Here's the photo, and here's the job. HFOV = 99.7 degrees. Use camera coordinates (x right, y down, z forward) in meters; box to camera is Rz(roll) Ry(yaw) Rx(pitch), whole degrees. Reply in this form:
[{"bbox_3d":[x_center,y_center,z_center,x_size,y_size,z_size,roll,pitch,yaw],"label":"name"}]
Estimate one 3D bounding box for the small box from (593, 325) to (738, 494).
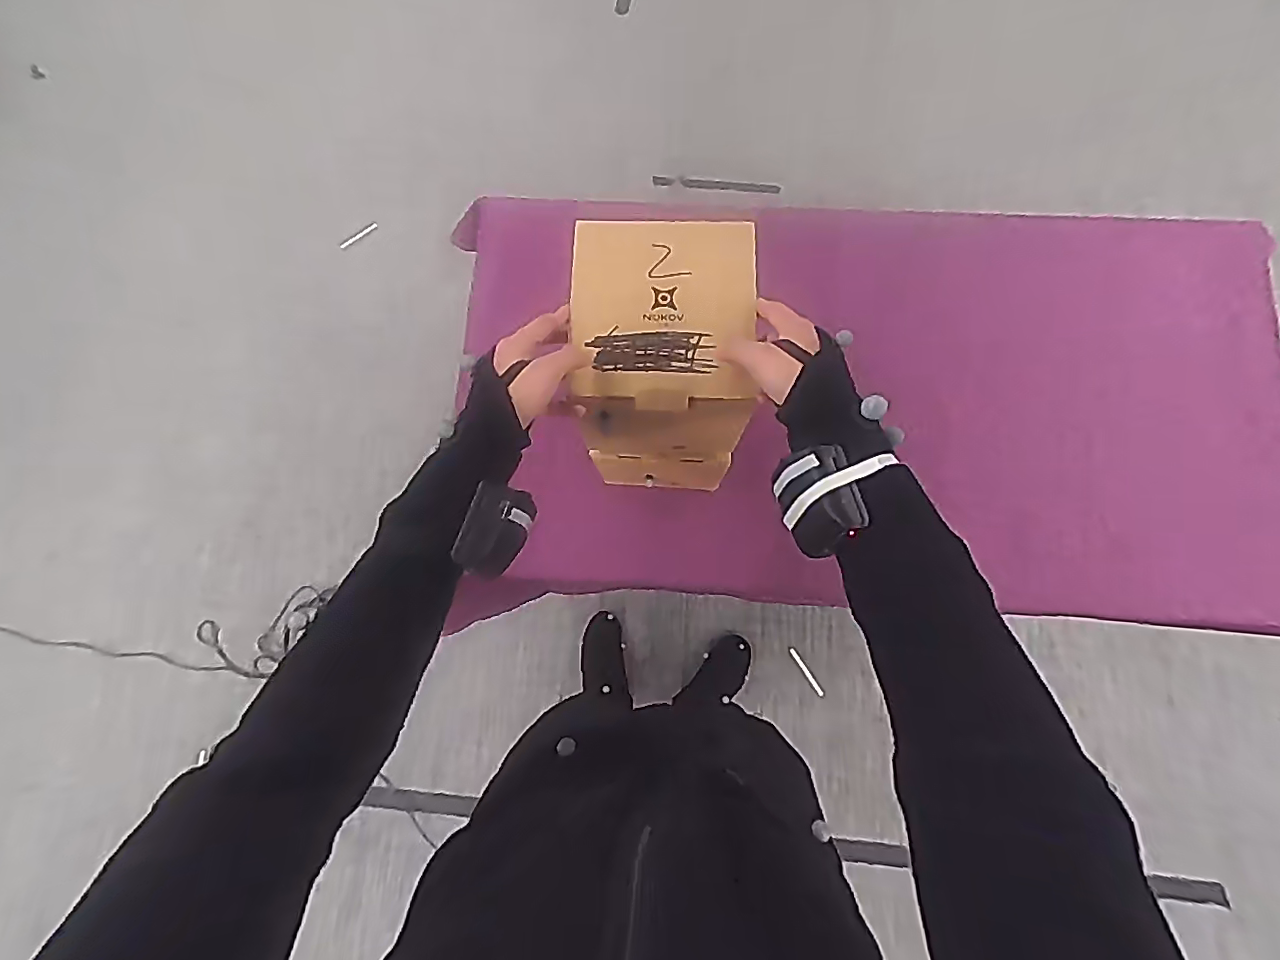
[{"bbox_3d":[0.033,-0.086,0.724,0.168,0.176,0.179,4,80,2],"label":"small box"}]
